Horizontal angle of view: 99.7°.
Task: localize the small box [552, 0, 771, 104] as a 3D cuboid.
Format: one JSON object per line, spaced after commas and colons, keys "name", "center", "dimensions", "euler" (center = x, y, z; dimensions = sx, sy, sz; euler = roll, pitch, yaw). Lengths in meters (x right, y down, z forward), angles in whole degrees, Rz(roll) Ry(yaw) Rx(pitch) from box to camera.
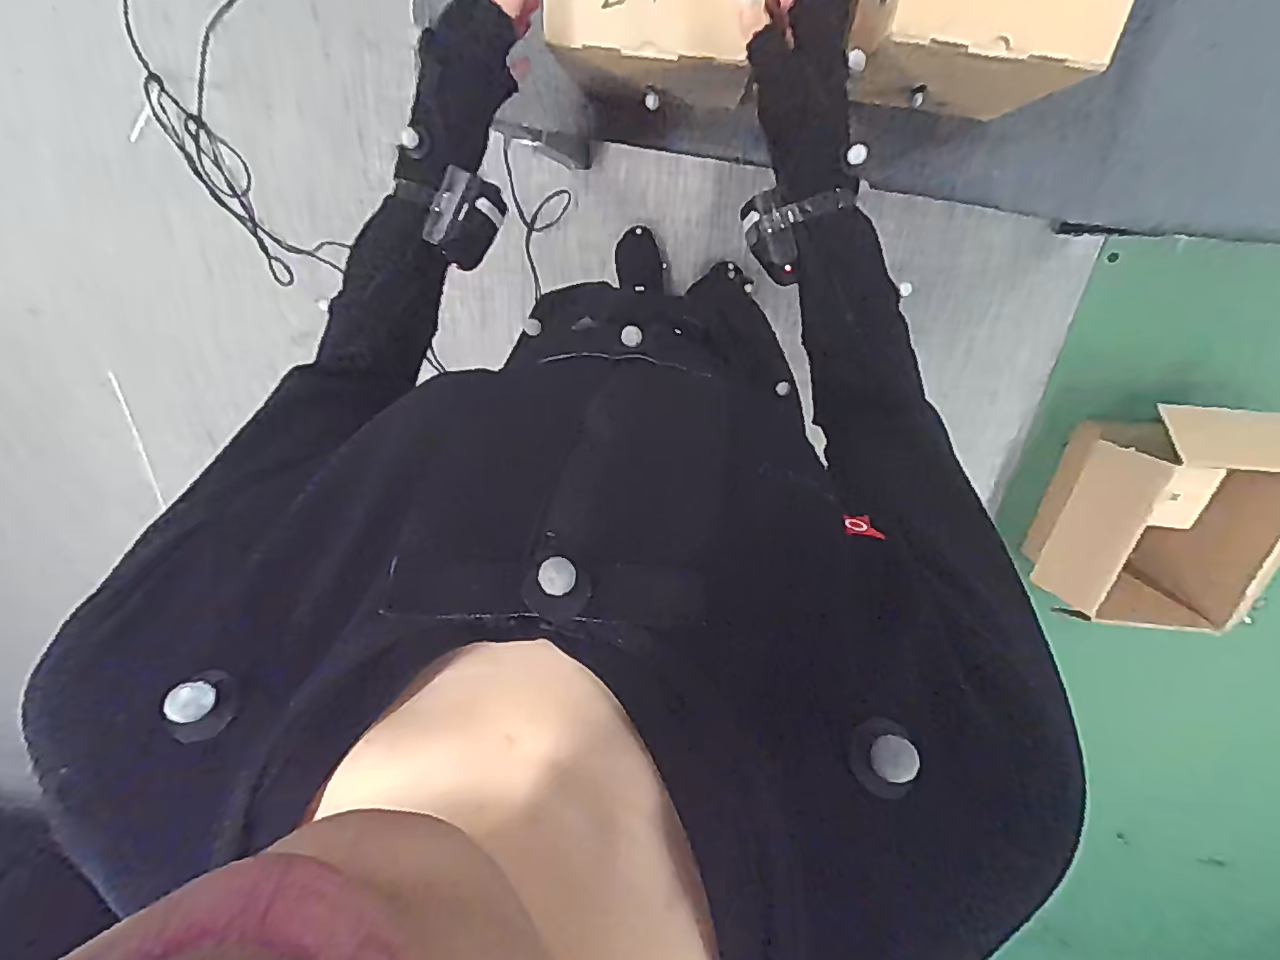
{"name": "small box", "center": [0.027, -0.442, 0.453], "dimensions": [0.168, 0.176, 0.179], "euler": [7, 116, 2]}
